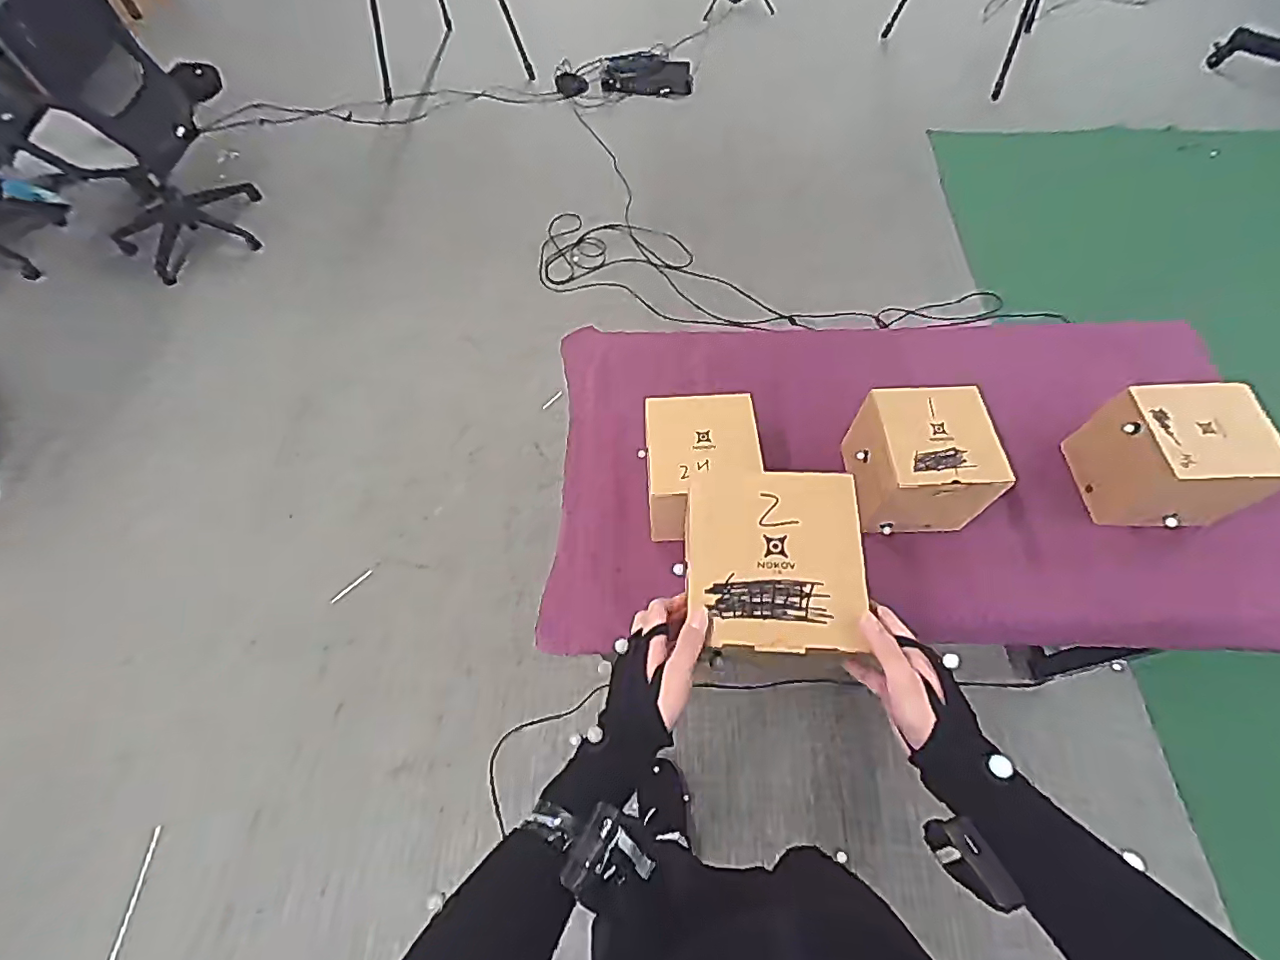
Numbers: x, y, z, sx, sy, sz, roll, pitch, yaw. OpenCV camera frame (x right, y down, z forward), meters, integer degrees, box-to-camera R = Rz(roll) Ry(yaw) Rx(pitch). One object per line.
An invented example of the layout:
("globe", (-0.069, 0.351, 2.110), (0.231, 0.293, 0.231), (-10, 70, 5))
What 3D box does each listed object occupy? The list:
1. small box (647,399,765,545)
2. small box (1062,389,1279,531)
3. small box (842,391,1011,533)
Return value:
("small box", (0.096, -0.009, 0.873), (0.168, 0.176, 0.179), (-3, 61, 1))
("small box", (0.833, -0.027, 0.856), (0.179, 0.176, 0.168), (0, 60, 2))
("small box", (0.442, -0.022, 0.868), (0.168, 0.176, 0.179), (-1, 60, 1))
